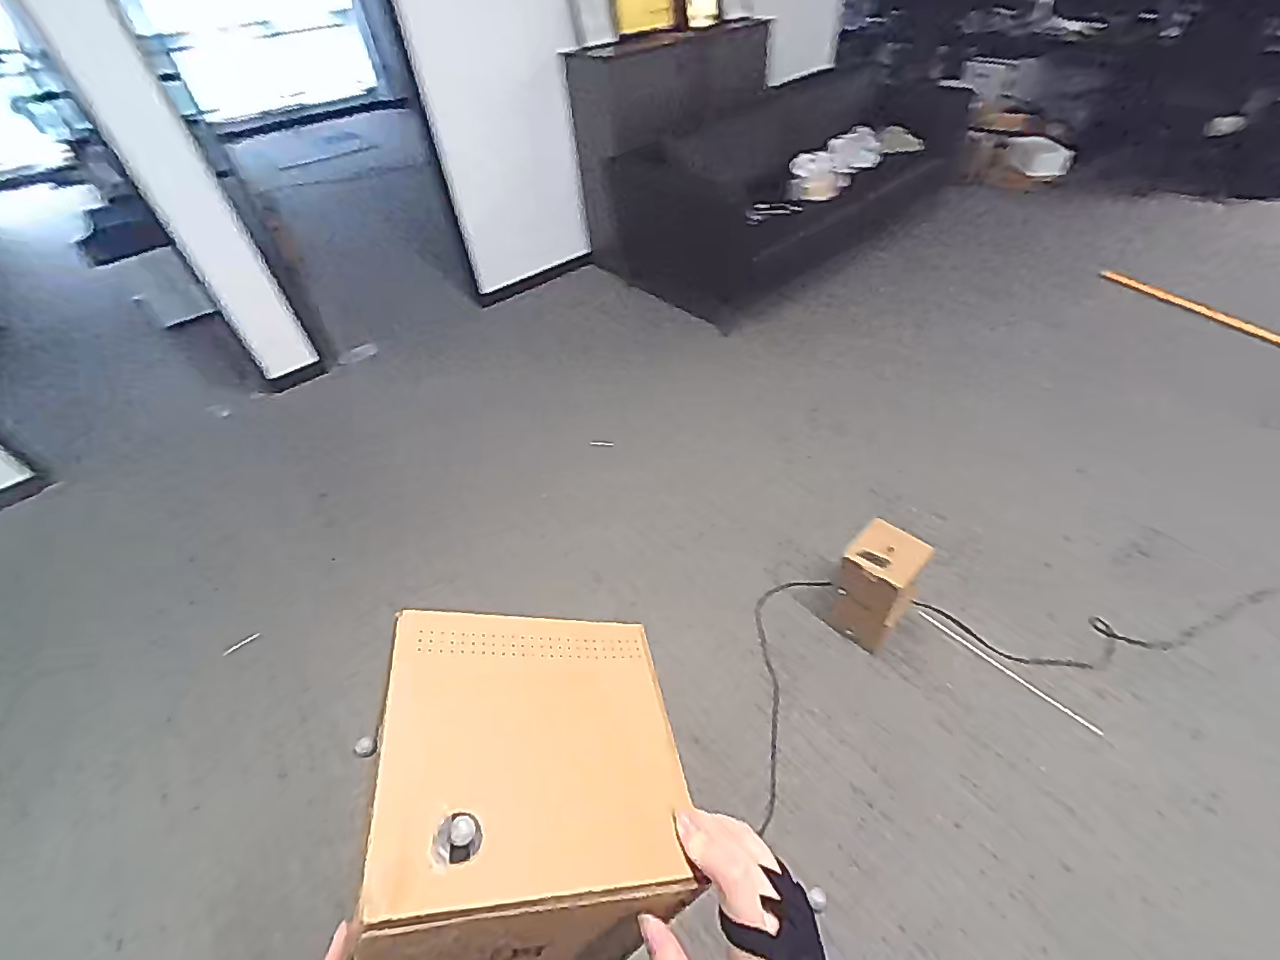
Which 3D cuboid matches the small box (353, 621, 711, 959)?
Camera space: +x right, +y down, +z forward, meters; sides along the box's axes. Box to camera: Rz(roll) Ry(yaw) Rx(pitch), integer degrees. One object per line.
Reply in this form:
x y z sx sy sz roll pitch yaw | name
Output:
-0.081 0.216 0.371 0.179 0.168 0.176 11 34 -20 | small box

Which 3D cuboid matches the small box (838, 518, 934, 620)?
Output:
0.656 0.243 1.460 0.179 0.176 0.168 -37 52 -27 | small box
